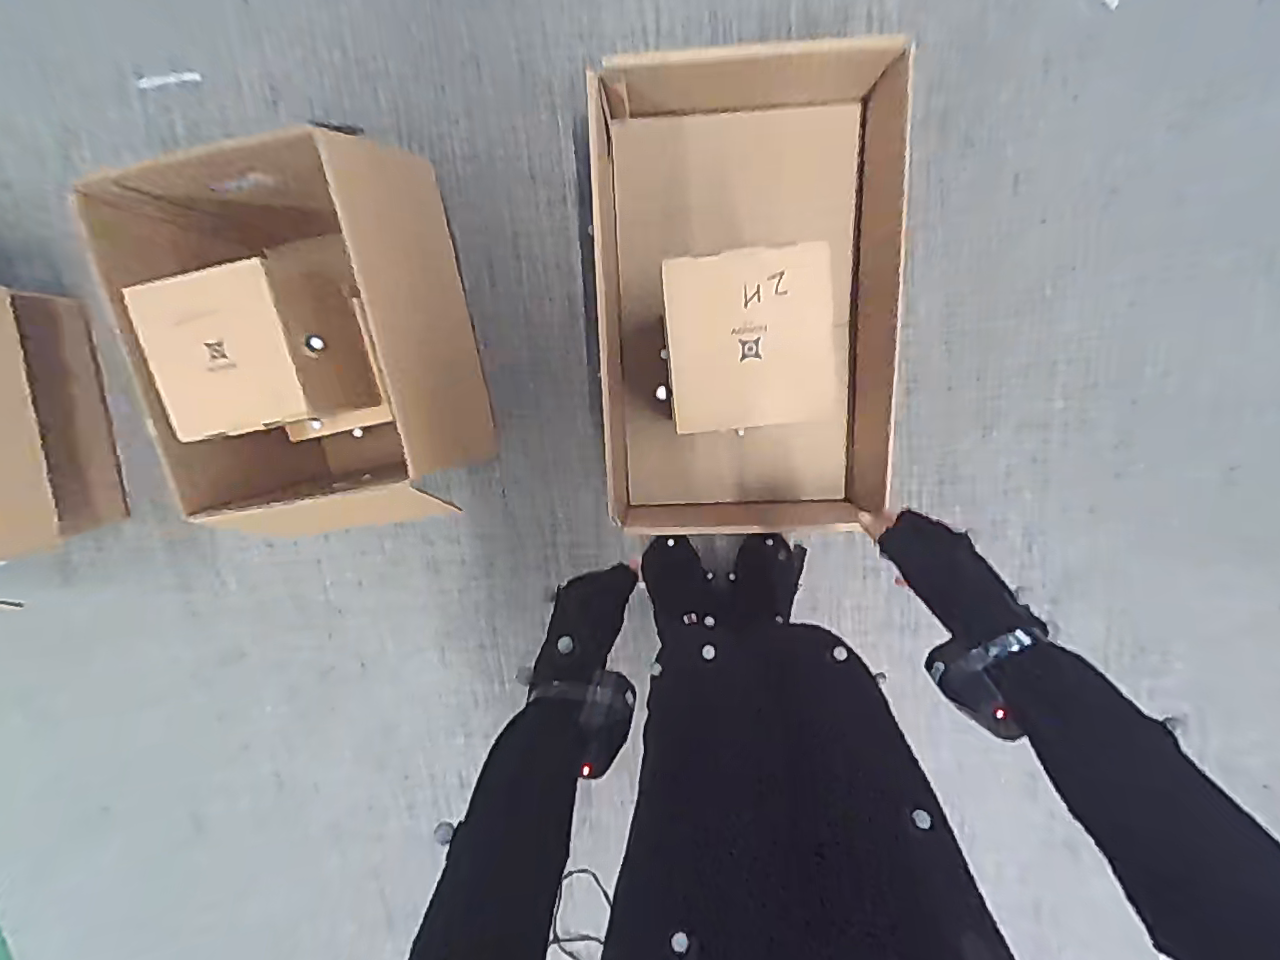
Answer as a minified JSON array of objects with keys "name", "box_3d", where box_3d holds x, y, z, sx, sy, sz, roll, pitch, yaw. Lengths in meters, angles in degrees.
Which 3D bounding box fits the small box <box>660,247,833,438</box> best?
[{"name":"small box","box_3d":[0.114,-0.149,0.622,0.168,0.176,0.179,-5,99,3]}]

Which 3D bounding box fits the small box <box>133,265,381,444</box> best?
[{"name":"small box","box_3d":[-0.462,-0.155,0.686,0.168,0.176,0.179,-10,102,4]}]
